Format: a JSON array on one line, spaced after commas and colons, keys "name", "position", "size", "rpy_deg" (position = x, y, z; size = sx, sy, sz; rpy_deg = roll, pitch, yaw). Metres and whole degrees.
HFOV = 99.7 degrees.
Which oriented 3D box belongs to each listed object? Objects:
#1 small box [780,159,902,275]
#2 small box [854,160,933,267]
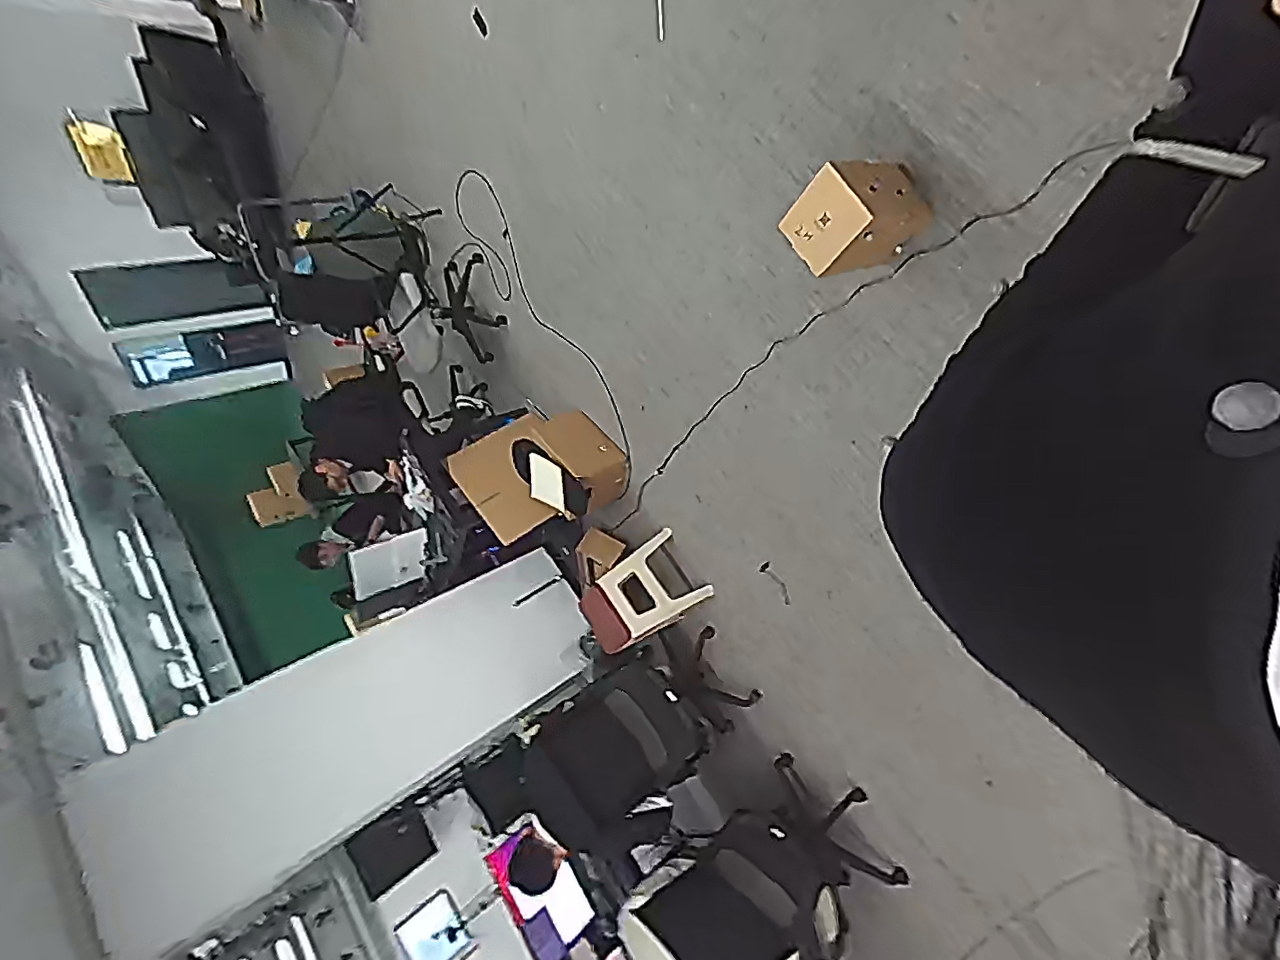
[{"name": "small box", "position": [0.467, -0.604, 1.241], "size": [0.168, 0.176, 0.179], "rpy_deg": [59, 145, 12]}, {"name": "small box", "position": [0.583, -0.659, 1.344], "size": [0.179, 0.176, 0.168], "rpy_deg": [59, 145, 8]}]
